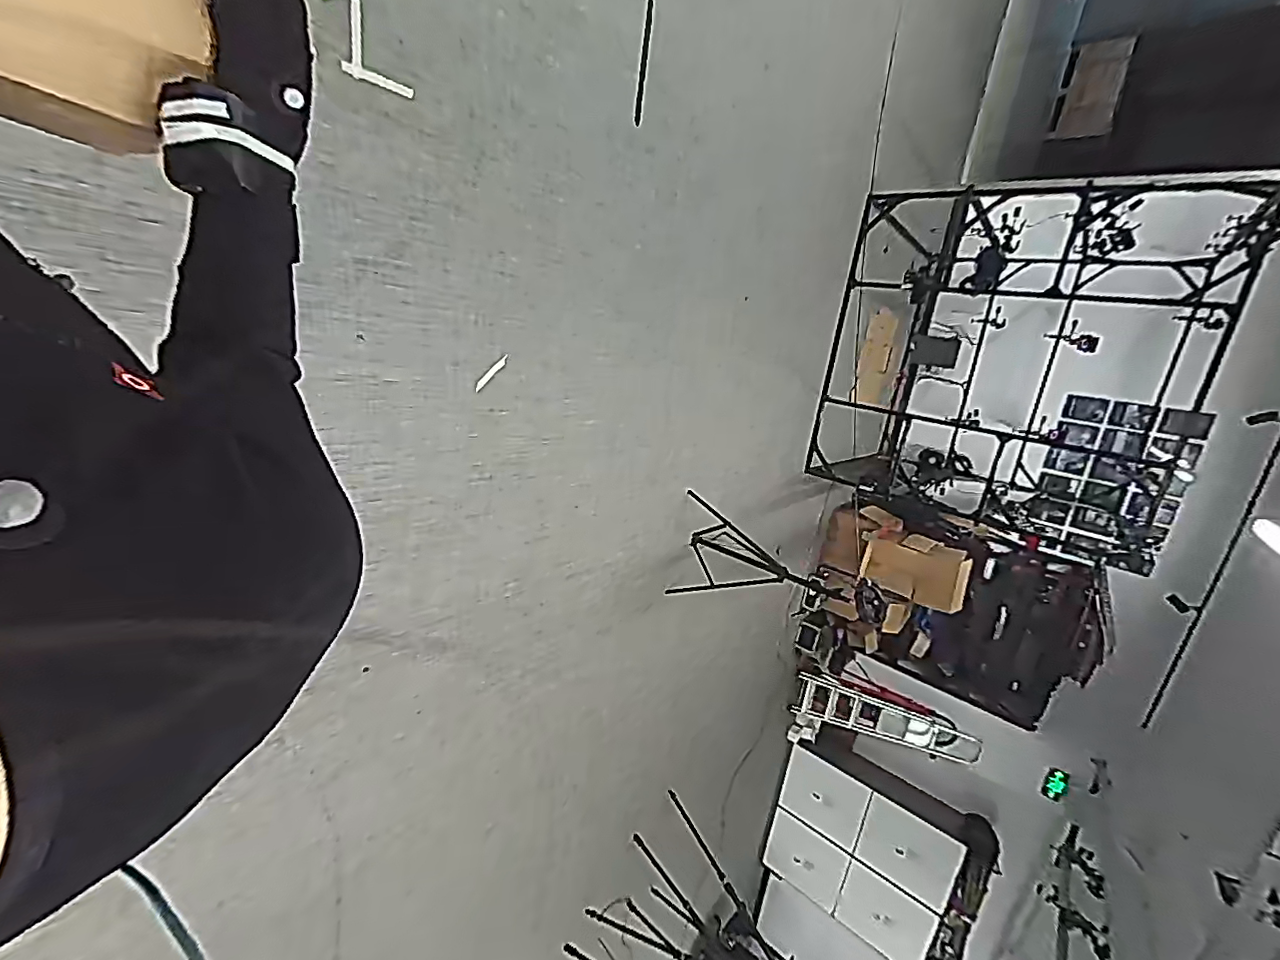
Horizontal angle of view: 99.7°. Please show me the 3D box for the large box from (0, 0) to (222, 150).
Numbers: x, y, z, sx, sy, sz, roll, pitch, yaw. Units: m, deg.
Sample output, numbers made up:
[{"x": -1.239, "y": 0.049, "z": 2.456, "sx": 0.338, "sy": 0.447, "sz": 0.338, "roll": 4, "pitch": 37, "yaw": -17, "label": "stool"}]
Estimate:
[{"x": -0.526, "y": -0.439, "z": 0.306, "sx": 0.408, "sy": 0.320, "sz": 0.320, "roll": -3, "pitch": 112, "yaw": -54, "label": "large box"}]
